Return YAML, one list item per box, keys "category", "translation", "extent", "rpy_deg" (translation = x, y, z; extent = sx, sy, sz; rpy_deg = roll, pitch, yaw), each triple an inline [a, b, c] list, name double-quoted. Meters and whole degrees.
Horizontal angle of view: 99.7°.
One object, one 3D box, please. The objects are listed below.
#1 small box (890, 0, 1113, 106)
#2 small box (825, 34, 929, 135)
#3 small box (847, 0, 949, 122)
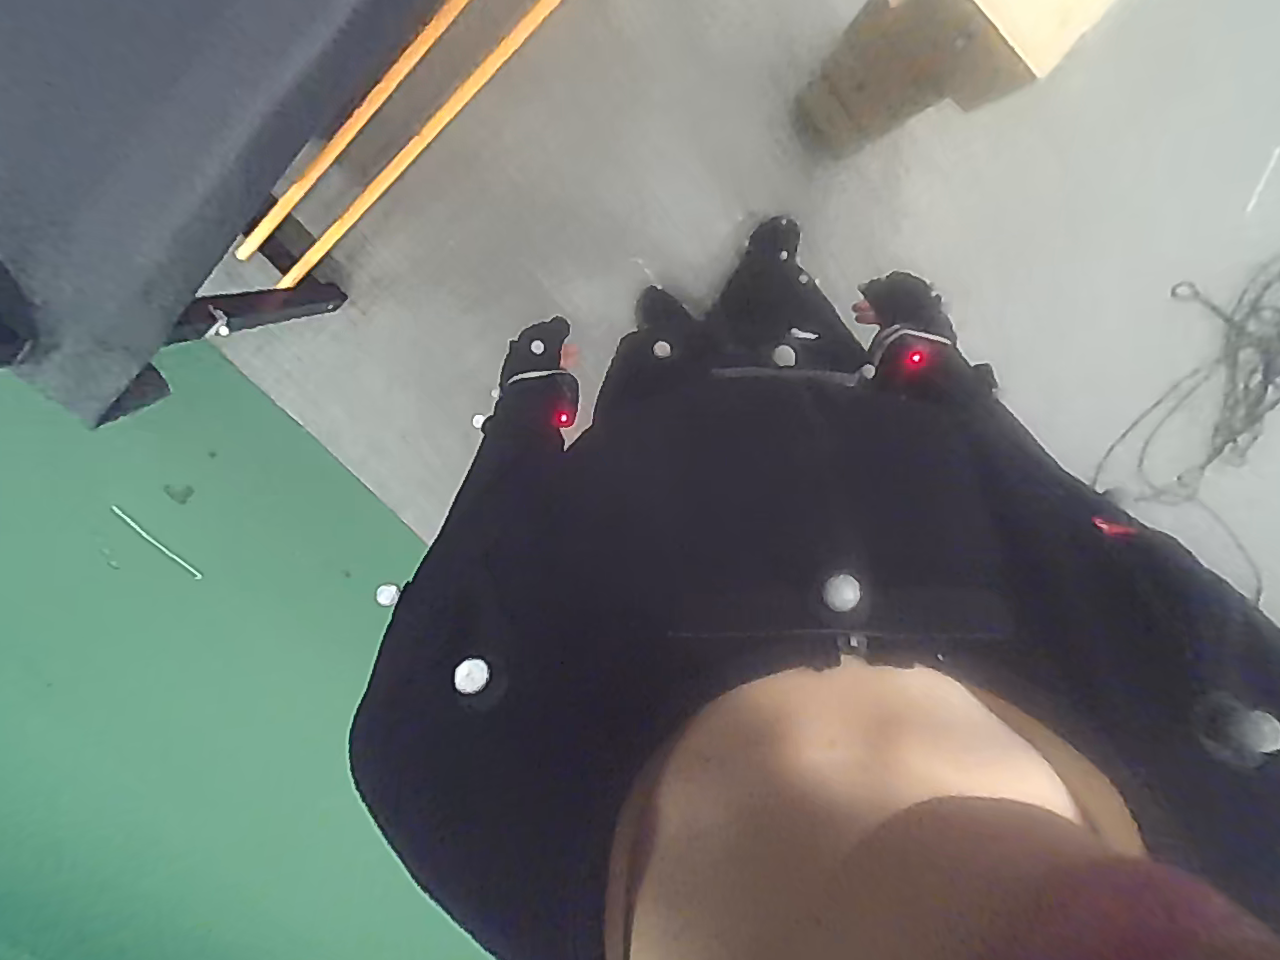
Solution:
- category: "small box"
  translation: [0.441, -0.592, 0.646]
  extent: [0.179, 0.176, 0.168]
  rpy_deg: [36, 110, -13]
- category: "small box"
  translation: [0.454, -0.737, 0.939]
  extent: [0.168, 0.176, 0.179]
  rpy_deg: [-39, 105, 16]
- category: "small box"
  translation: [0.435, -0.671, 0.791]
  extent: [0.168, 0.176, 0.179]
  rpy_deg: [-36, 107, 16]
